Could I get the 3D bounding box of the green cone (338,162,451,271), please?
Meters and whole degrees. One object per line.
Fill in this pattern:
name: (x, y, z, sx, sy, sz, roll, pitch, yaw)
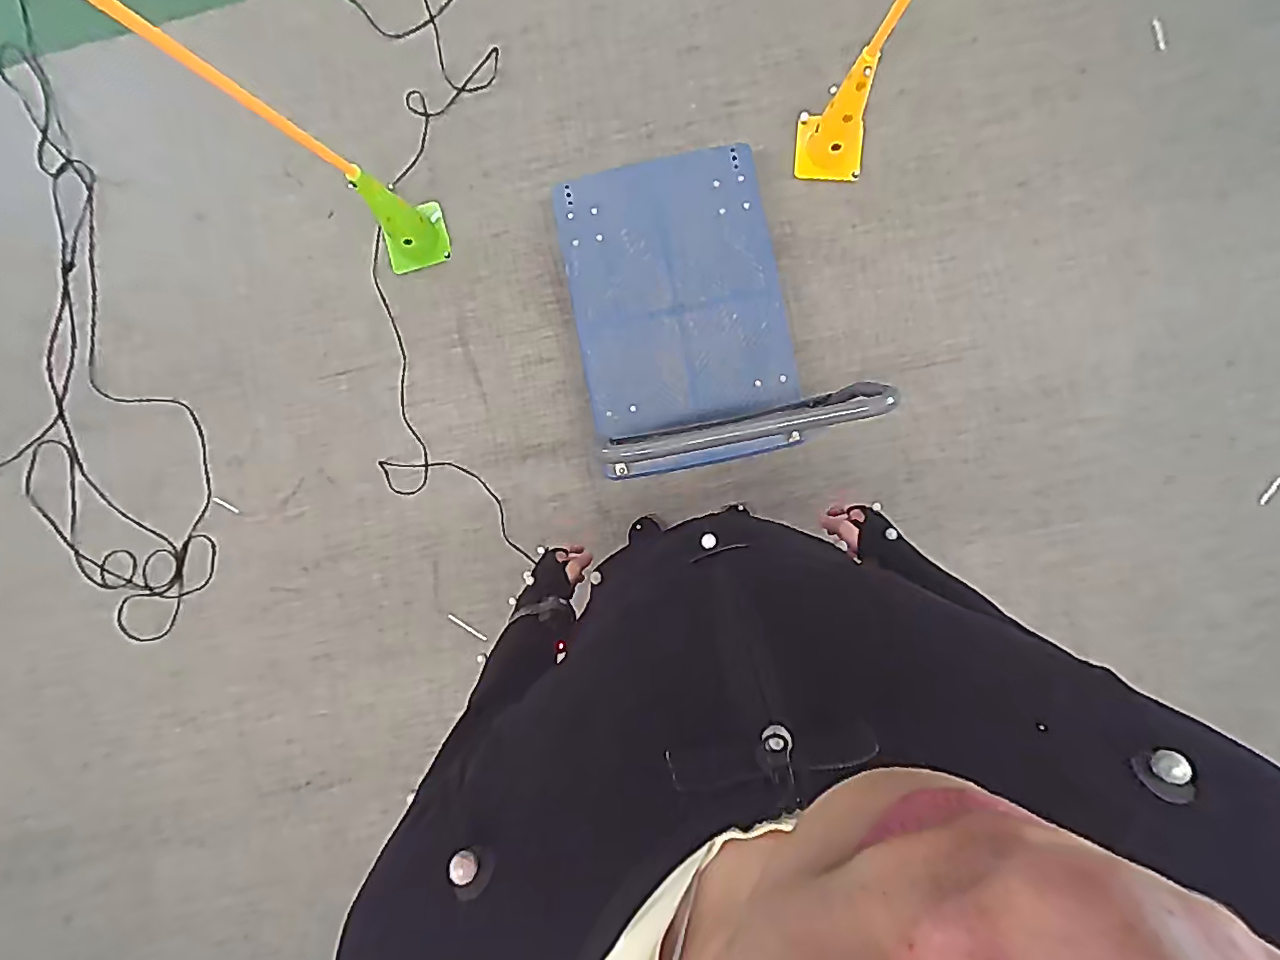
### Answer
green cone: (-0.732, -0.792, 1.557, 0.202, 0.368, 0.200, -16, 86, 4)
